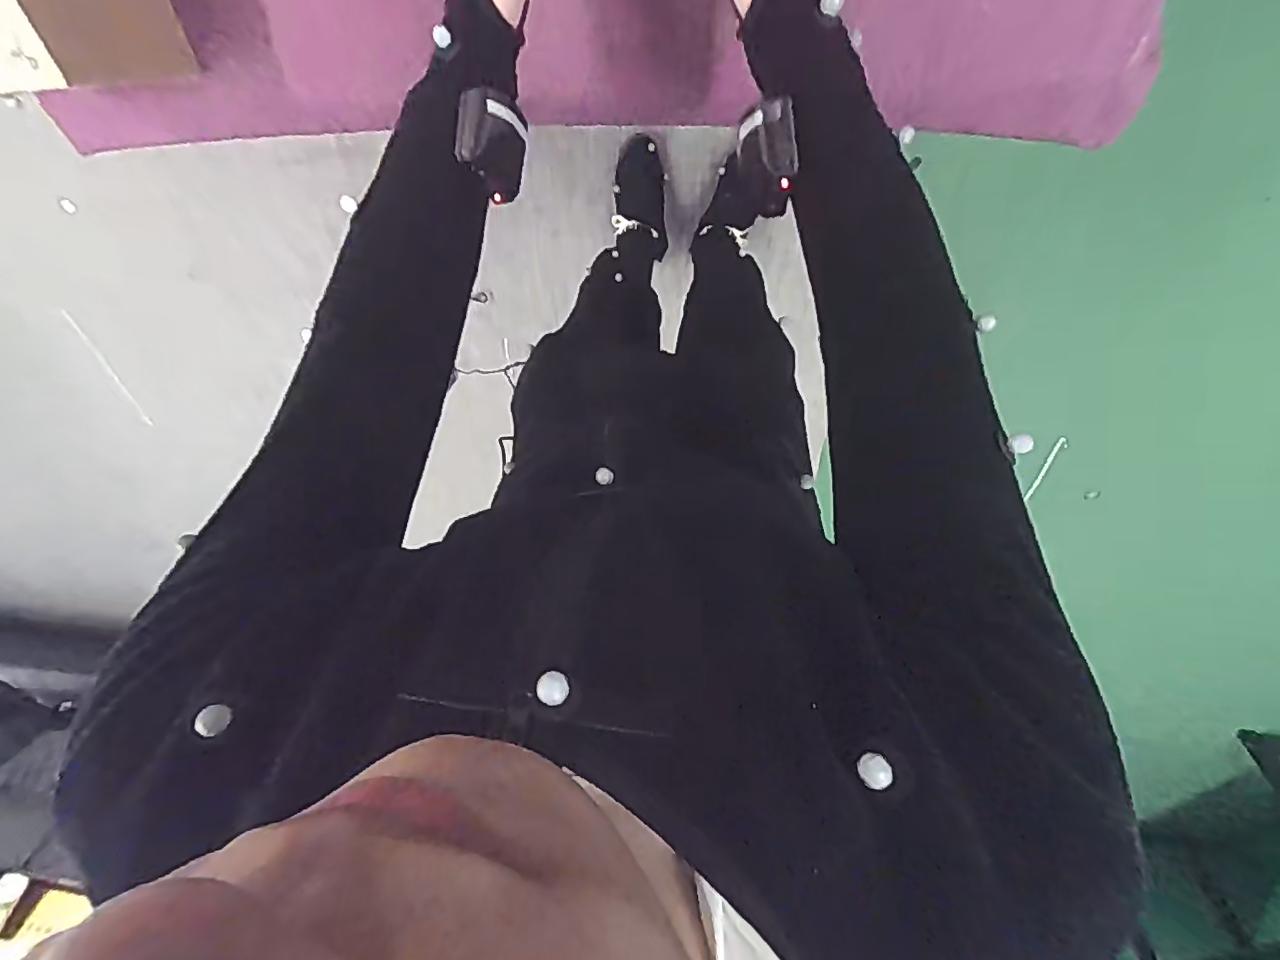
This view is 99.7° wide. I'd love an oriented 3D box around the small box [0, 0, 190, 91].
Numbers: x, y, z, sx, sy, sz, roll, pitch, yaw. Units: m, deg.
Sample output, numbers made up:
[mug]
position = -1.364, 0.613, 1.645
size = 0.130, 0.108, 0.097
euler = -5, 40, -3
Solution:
[small box]
position = -0.594, -0.476, 0.505
size = 0.168, 0.176, 0.179
euler = 4, 130, 9
